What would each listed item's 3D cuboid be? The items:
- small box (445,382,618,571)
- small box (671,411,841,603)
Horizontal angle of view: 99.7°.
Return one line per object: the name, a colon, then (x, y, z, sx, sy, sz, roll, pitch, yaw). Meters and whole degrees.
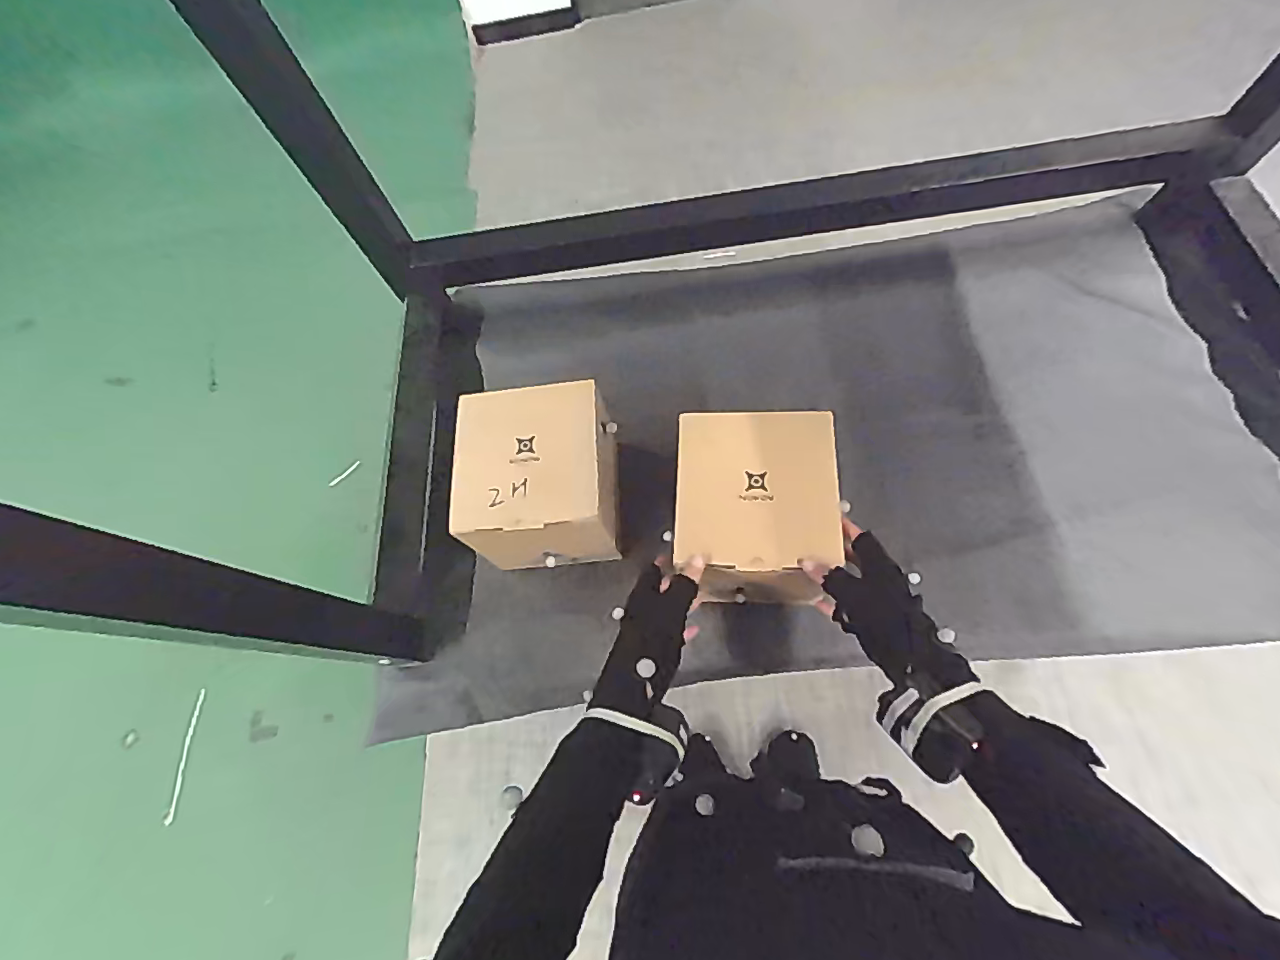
small box: (-0.122, 0.003, 0.677, 0.168, 0.176, 0.179, -6, 66, 6)
small box: (0.126, 0.037, 0.629, 0.168, 0.176, 0.179, -1, 67, 9)
